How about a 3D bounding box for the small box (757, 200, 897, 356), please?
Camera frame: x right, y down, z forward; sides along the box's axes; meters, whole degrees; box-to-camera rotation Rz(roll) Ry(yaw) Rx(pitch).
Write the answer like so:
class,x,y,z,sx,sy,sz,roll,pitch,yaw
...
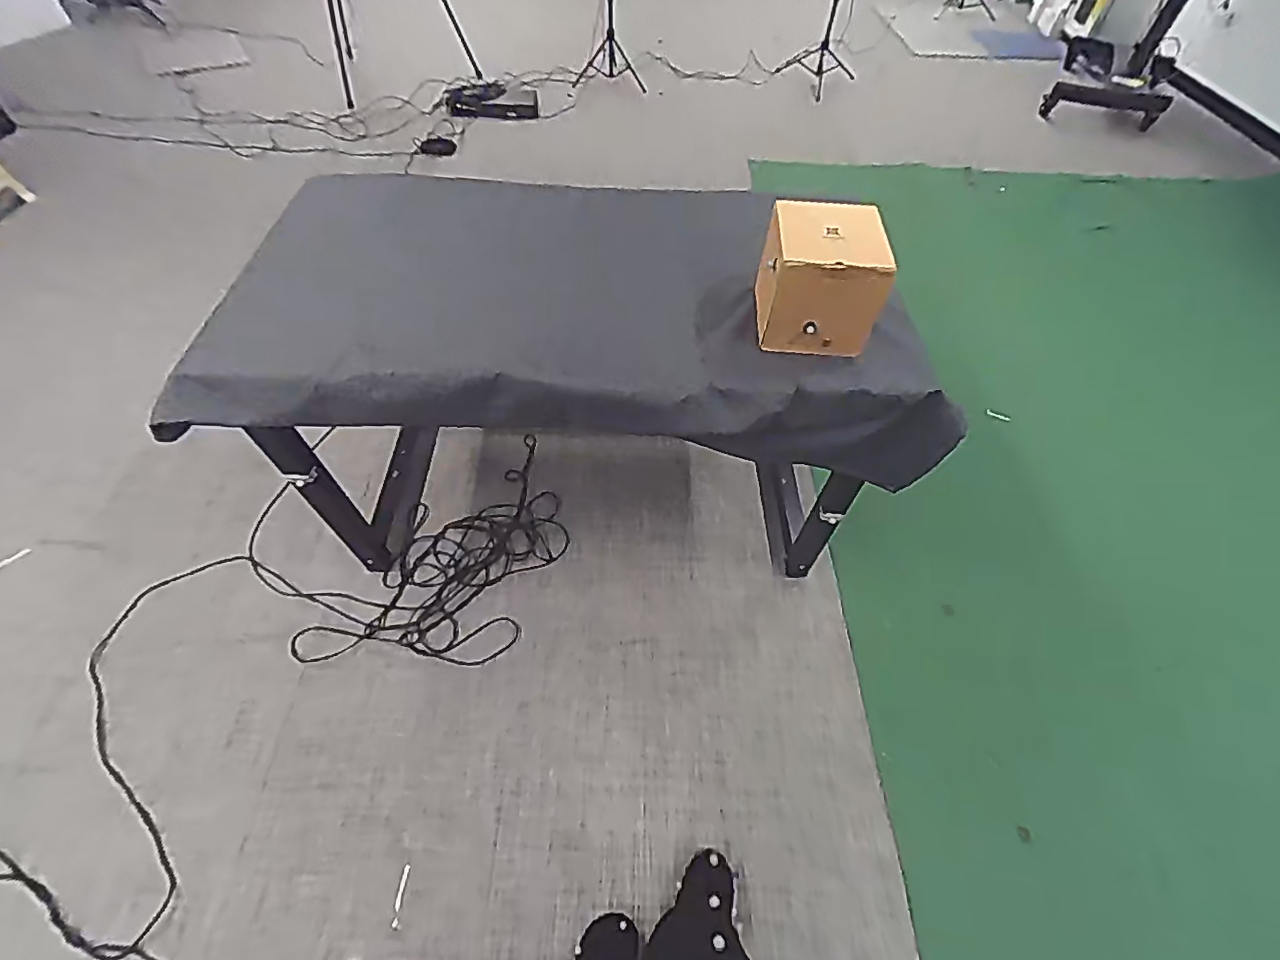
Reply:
class,x,y,z,sx,sy,sz,roll,pitch,yaw
small box,0.292,-0.331,0.891,0.168,0.176,0.179,4,55,1
